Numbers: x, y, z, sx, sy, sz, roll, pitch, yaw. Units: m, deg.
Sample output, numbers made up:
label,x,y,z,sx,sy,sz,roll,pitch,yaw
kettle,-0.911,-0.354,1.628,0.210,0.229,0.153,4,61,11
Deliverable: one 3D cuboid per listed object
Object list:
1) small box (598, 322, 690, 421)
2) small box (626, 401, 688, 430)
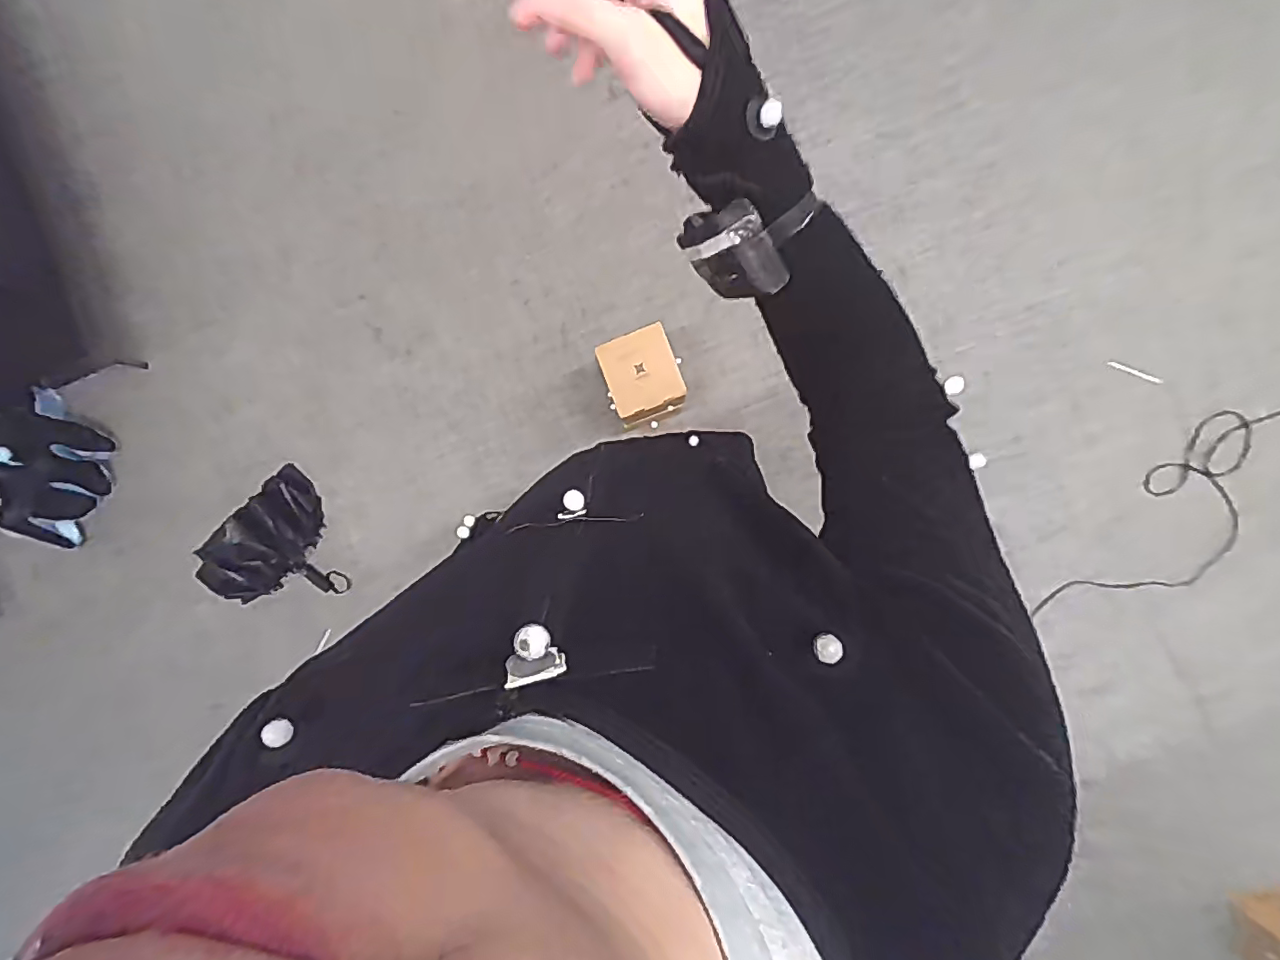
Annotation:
label,x,y,z,sx,sy,sz,roll,pitch,yaw
small box,0.015,-0.248,1.295,0.168,0.176,0.179,-22,89,3
small box,0.023,-0.246,1.457,0.168,0.176,0.179,-20,90,5
